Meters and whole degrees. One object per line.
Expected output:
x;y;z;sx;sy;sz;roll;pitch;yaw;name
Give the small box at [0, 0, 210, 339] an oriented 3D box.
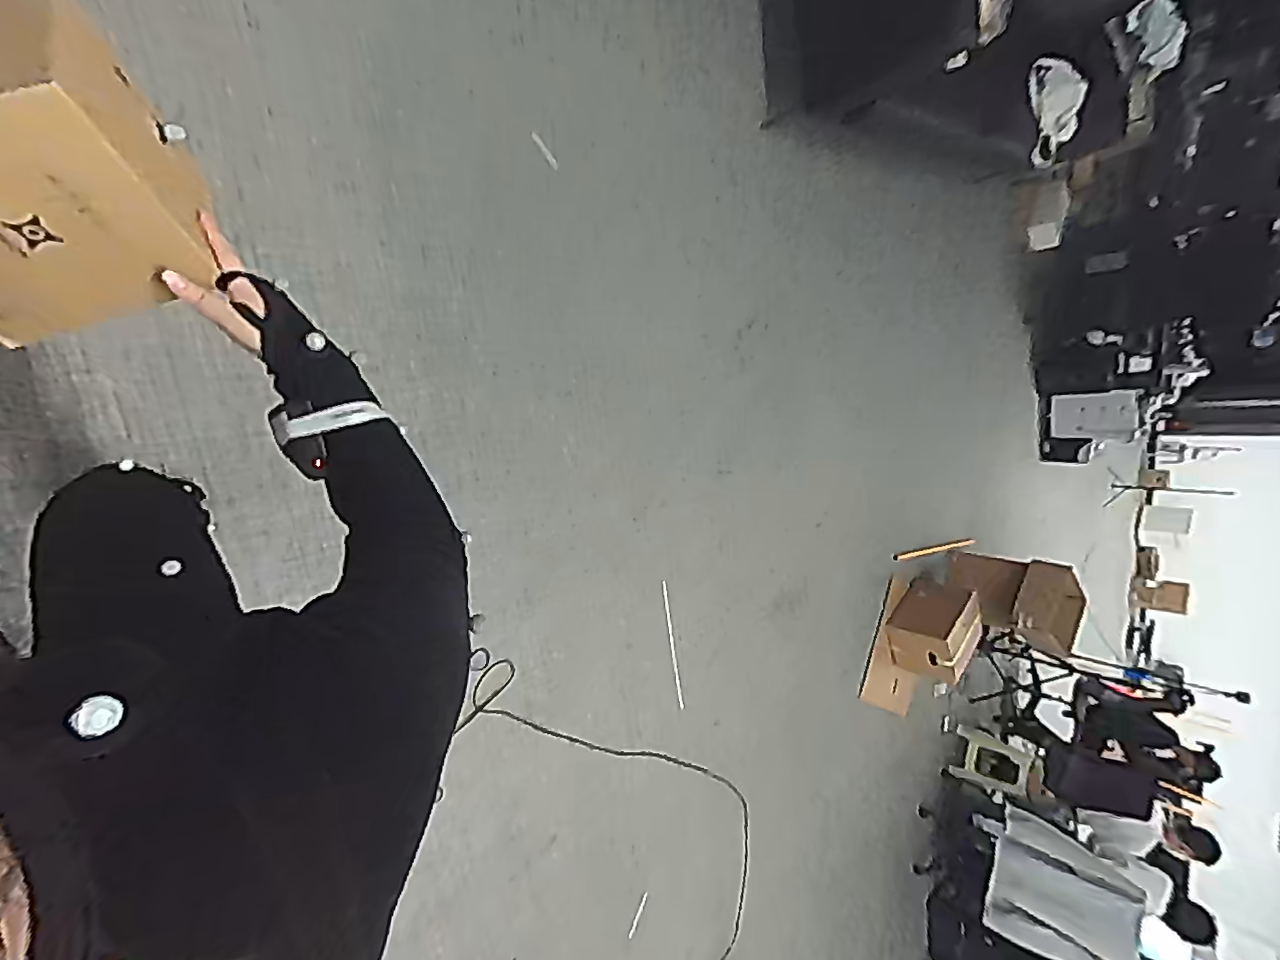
-0.481;-0.245;0.414;0.179;0.168;0.176;-23;67;-12;small box
